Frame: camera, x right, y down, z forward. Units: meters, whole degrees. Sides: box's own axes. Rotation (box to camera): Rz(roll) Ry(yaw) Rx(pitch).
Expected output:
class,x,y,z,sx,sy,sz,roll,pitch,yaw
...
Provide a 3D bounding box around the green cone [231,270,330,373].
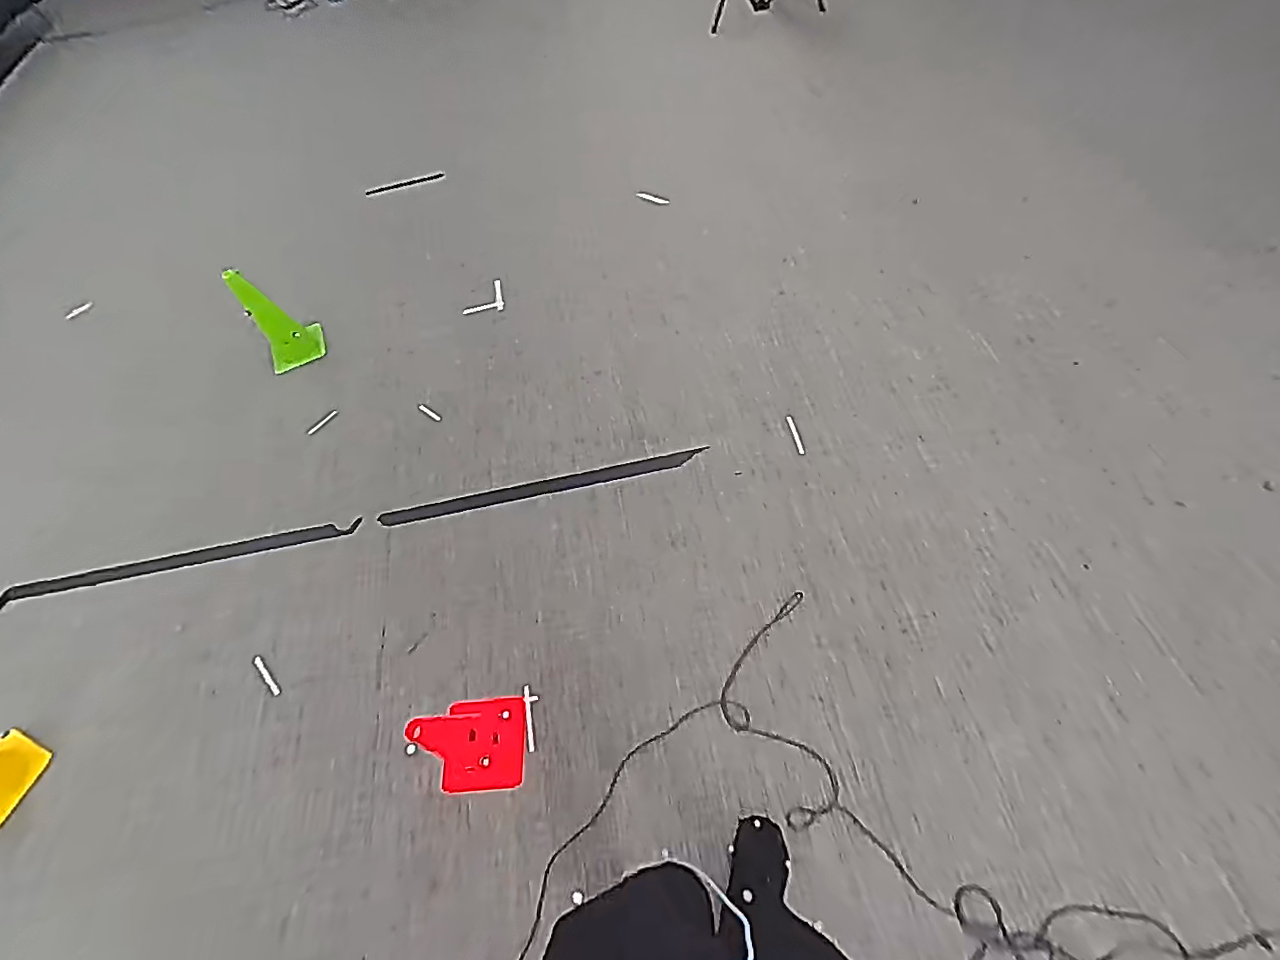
class,x,y,z,sx,sy,sz,roll,pitch,yaw
green cone,-1.337,-0.597,1.965,0.202,0.368,0.200,-25,60,-7

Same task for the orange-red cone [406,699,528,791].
class,x,y,z,sx,sy,sz,roll,pitch,yaw
orange-red cone,-0.396,0.547,1.155,0.199,0.360,0.198,-6,59,7
